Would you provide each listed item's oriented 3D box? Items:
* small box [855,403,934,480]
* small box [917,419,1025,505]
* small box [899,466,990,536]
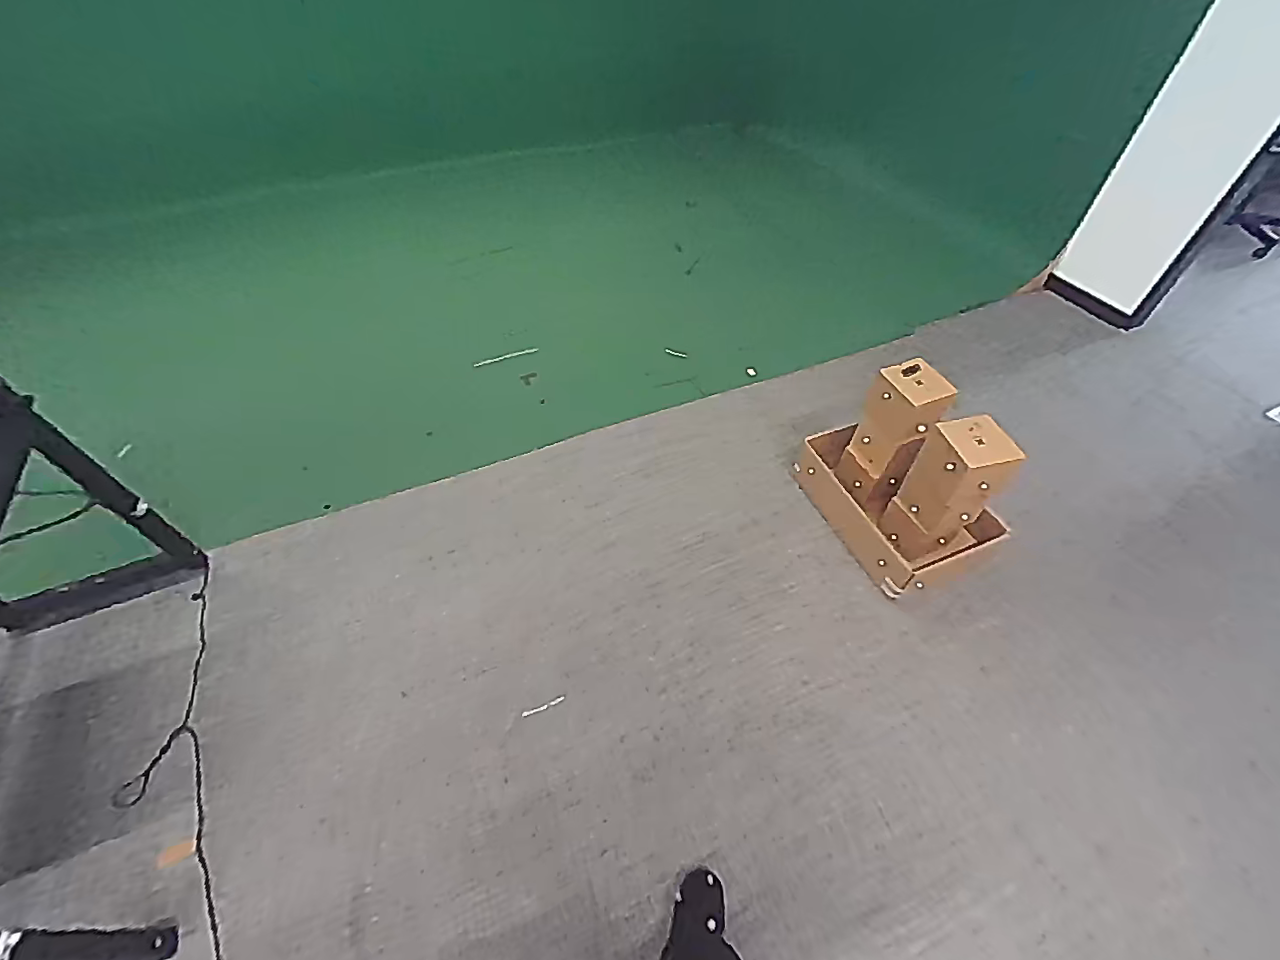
[{"bbox_3d":[0.854,-0.126,1.828,0.179,0.176,0.168,-20,54,-14],"label":"small box"},{"bbox_3d":[0.925,-0.043,1.532,0.168,0.176,0.179,-10,49,-6],"label":"small box"},{"bbox_3d":[0.940,0.053,1.666,0.168,0.176,0.179,-16,51,-11],"label":"small box"}]
